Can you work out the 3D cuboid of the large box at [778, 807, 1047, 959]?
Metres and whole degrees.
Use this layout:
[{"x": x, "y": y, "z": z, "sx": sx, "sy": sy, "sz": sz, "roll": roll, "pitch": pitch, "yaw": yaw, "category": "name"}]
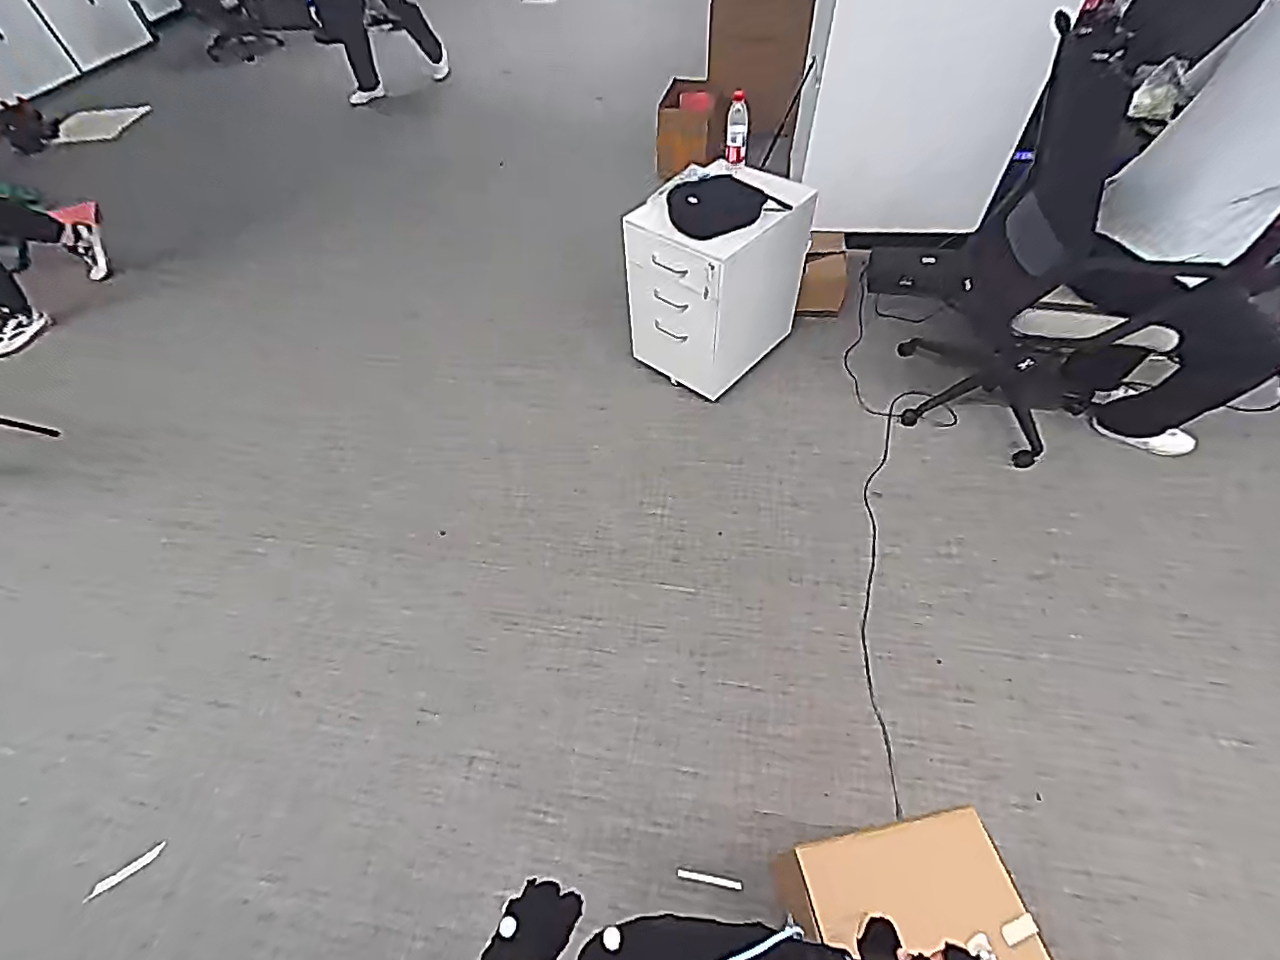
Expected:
[{"x": 0.458, "y": 0.813, "z": 0.953, "sx": 0.320, "sy": 0.408, "sz": 0.320, "roll": -12, "pitch": 51, "yaw": -1, "category": "large box"}]
